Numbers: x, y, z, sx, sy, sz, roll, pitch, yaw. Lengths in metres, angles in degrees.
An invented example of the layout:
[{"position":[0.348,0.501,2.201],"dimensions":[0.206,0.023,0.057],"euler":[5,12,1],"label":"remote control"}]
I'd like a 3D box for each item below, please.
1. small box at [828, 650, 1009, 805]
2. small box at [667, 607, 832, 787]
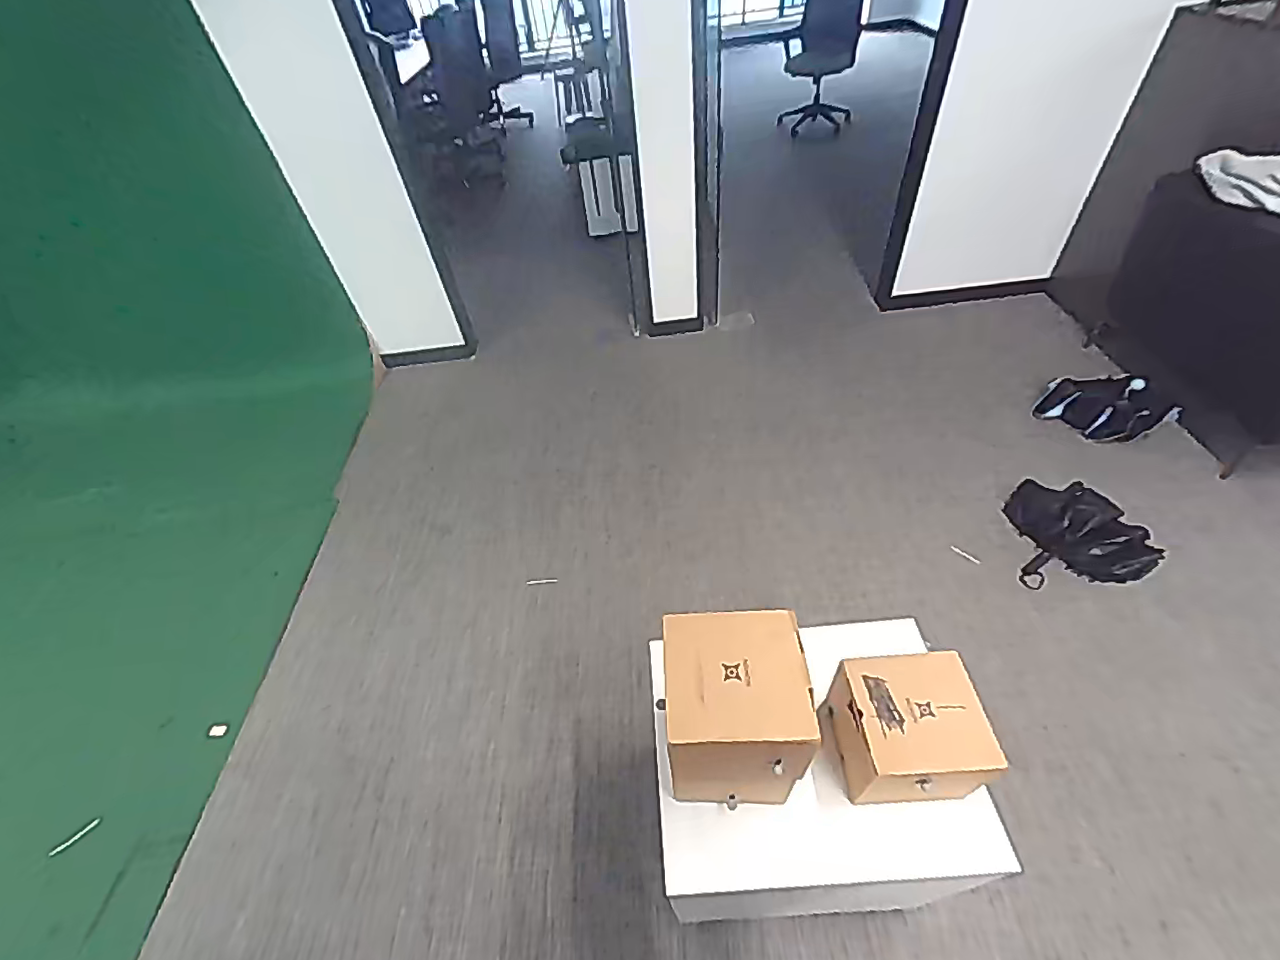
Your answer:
[{"position":[0.398,0.377,0.817],"dimensions":[0.179,0.176,0.168],"euler":[-4,47,-1],"label":"small box"},{"position":[0.126,0.283,0.701],"dimensions":[0.179,0.176,0.168],"euler":[-4,45,1],"label":"small box"}]
